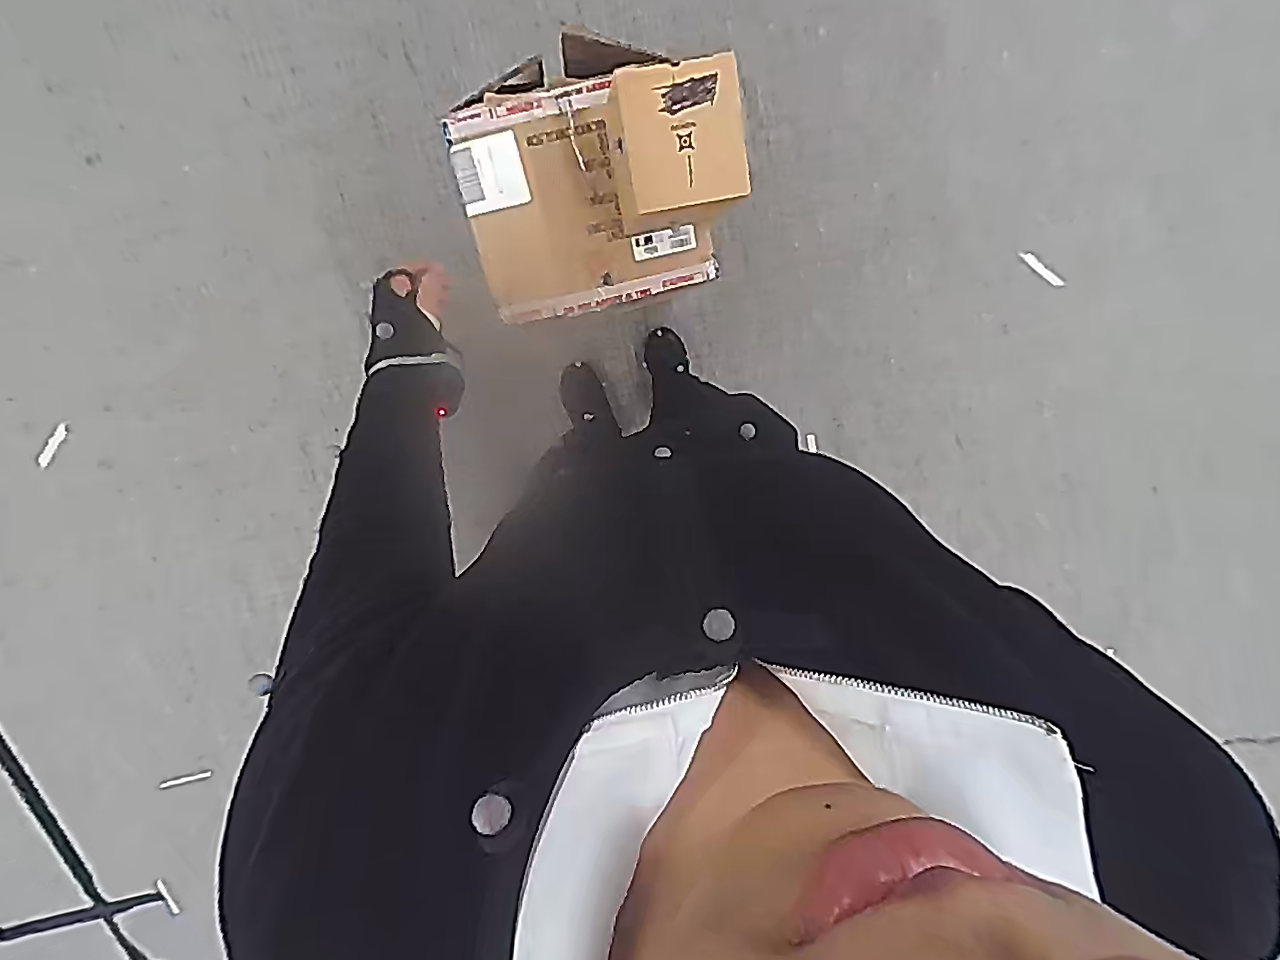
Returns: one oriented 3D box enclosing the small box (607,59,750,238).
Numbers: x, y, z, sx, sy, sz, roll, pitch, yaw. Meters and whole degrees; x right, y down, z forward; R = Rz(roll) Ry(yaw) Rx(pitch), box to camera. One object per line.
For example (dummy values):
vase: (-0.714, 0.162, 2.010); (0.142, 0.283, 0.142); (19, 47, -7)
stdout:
small box: (0.050, -0.479, 0.805); (0.168, 0.176, 0.179); (-12, 107, -4)
